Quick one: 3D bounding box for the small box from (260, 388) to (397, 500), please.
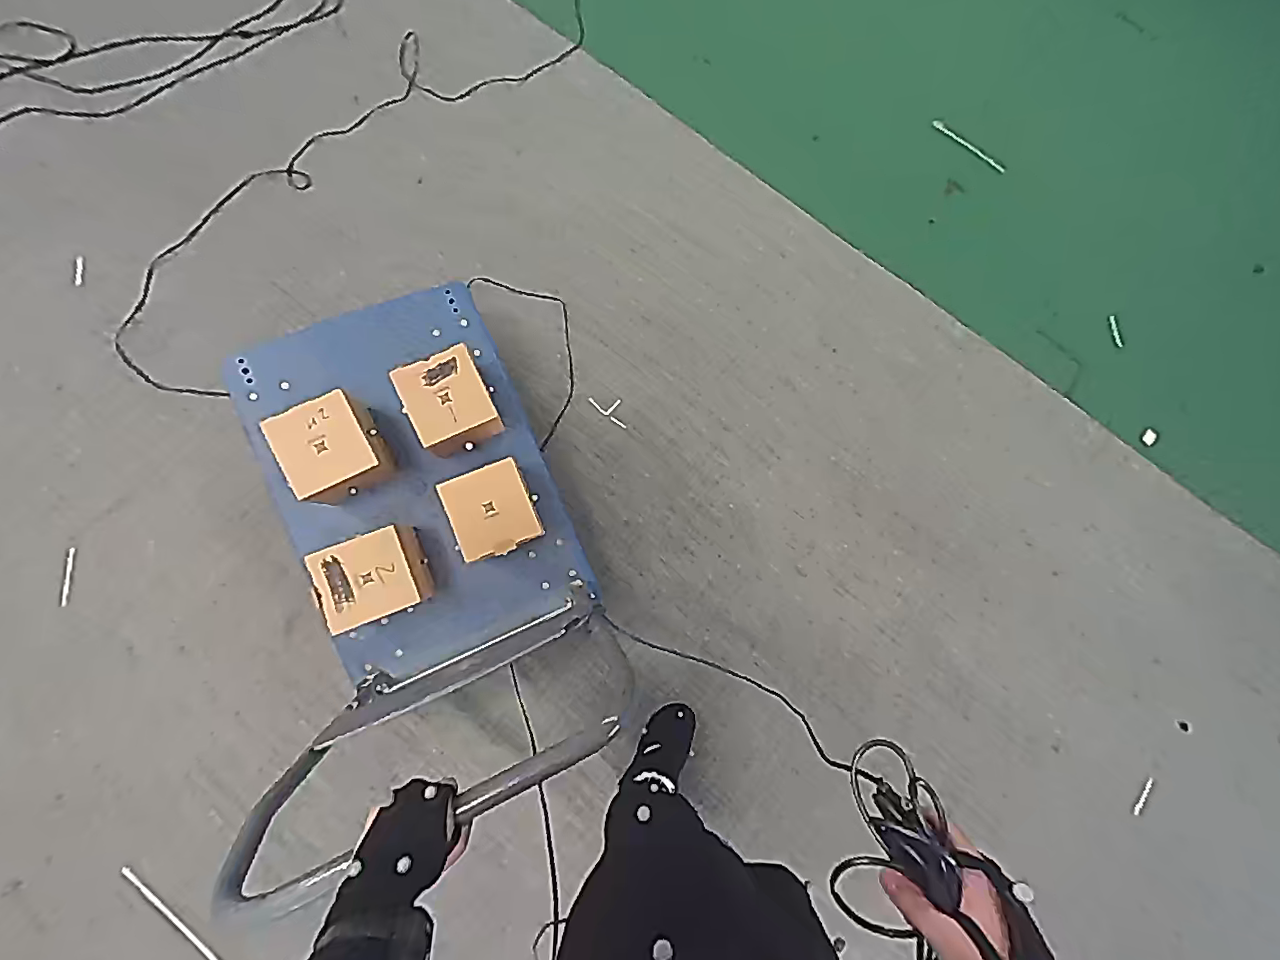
[{"bbox_3d":[-0.643,-0.068,1.141,0.168,0.176,0.179,-27,89,-12],"label":"small box"}]

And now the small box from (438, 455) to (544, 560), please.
[{"bbox_3d":[-0.320,0.063,1.184,0.168,0.176,0.179,-22,89,-11],"label":"small box"}]

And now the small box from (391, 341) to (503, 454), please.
[{"bbox_3d":[-0.415,-0.173,1.189,0.168,0.176,0.179,-25,90,-10],"label":"small box"}]
